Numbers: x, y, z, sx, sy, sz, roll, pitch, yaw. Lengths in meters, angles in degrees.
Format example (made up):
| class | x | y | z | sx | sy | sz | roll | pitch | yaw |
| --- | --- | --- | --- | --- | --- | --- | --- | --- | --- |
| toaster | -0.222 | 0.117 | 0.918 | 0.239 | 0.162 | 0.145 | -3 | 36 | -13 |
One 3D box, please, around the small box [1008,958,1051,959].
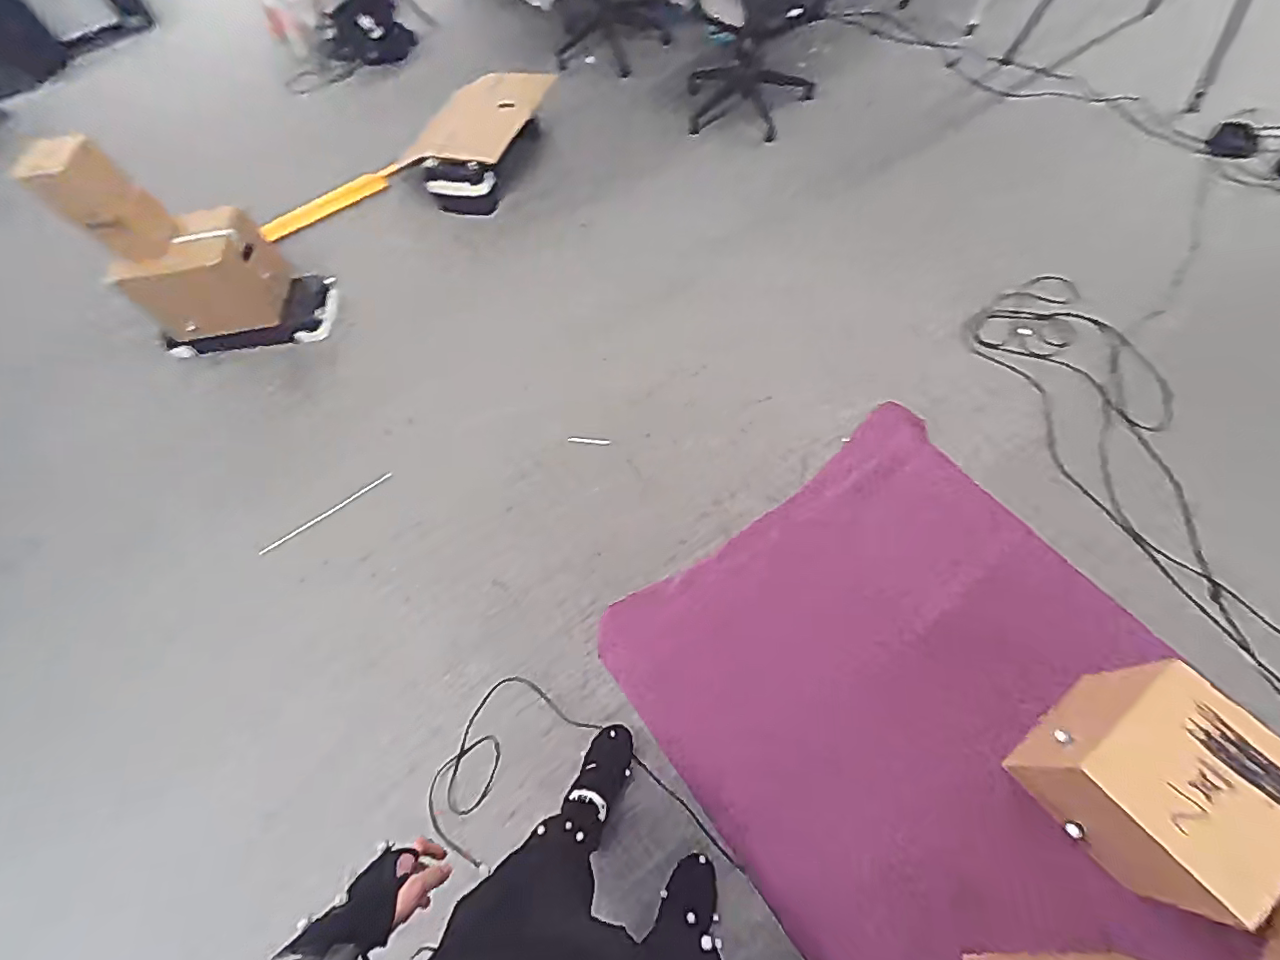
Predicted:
| class | x | y | z | sx | sy | sz | roll | pitch | yaw |
| --- | --- | --- | --- | --- | --- | --- | --- | --- | --- |
| small box | 0.442 | 0.569 | 0.494 | 0.179 | 0.176 | 0.168 | -2 | 63 | 4 |
